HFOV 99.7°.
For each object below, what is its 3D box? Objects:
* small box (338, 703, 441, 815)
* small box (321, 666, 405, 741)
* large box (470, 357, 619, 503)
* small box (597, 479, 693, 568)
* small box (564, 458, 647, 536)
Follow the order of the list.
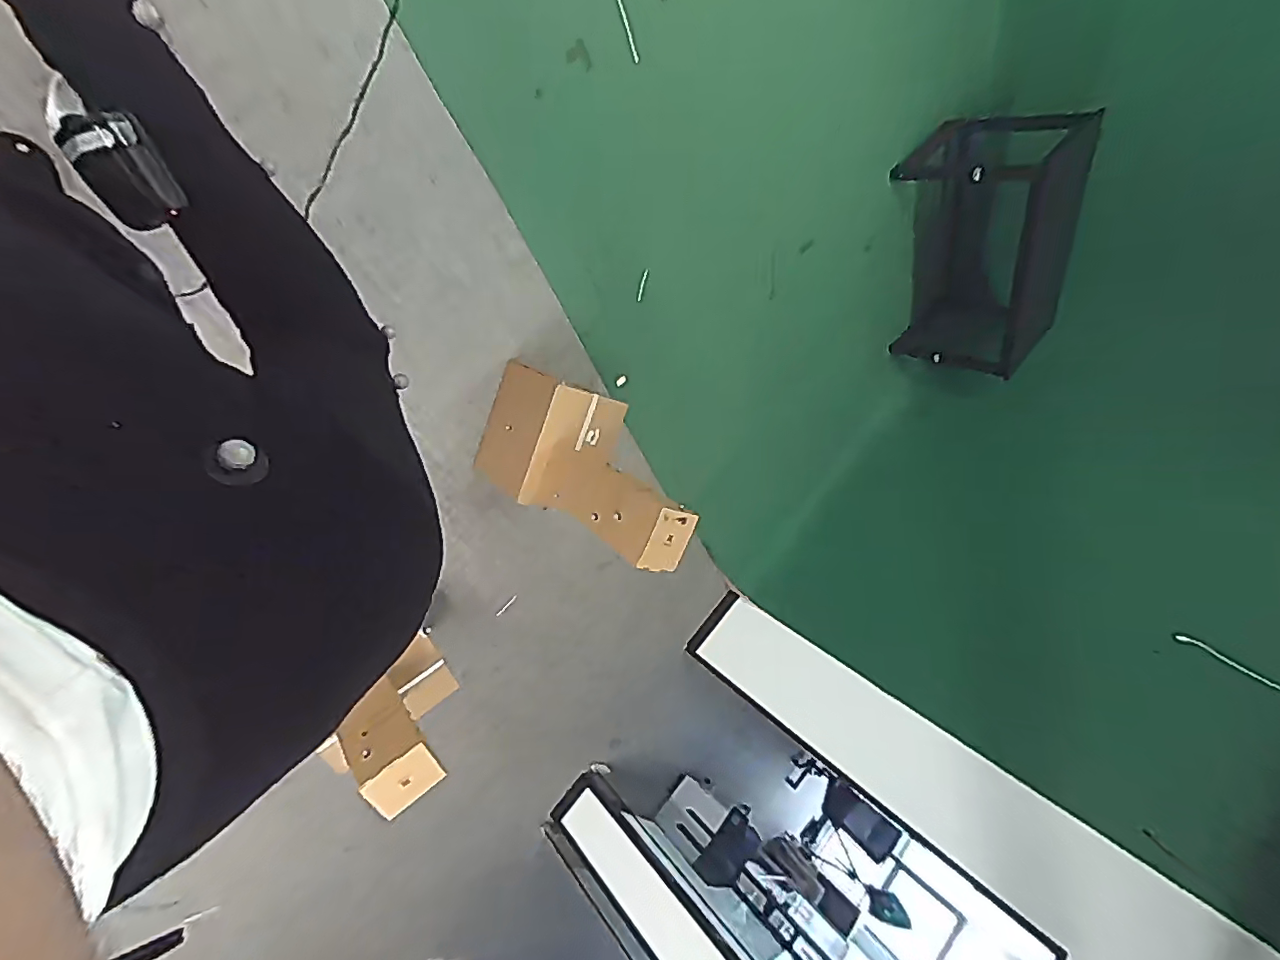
[{"bbox_3d":[-0.662,0.723,1.426,0.168,0.176,0.179,-33,132,-27],"label":"small box"},{"bbox_3d":[-0.769,0.669,1.535,0.168,0.176,0.179,-32,131,-29],"label":"small box"},{"bbox_3d":[-0.335,-0.163,1.861,0.320,0.320,0.408,8,106,-49],"label":"large box"},{"bbox_3d":[0.006,0.121,1.489,0.168,0.176,0.179,16,102,-49],"label":"small box"},{"bbox_3d":[-0.099,0.057,1.598,0.168,0.176,0.179,16,101,-49],"label":"small box"}]
